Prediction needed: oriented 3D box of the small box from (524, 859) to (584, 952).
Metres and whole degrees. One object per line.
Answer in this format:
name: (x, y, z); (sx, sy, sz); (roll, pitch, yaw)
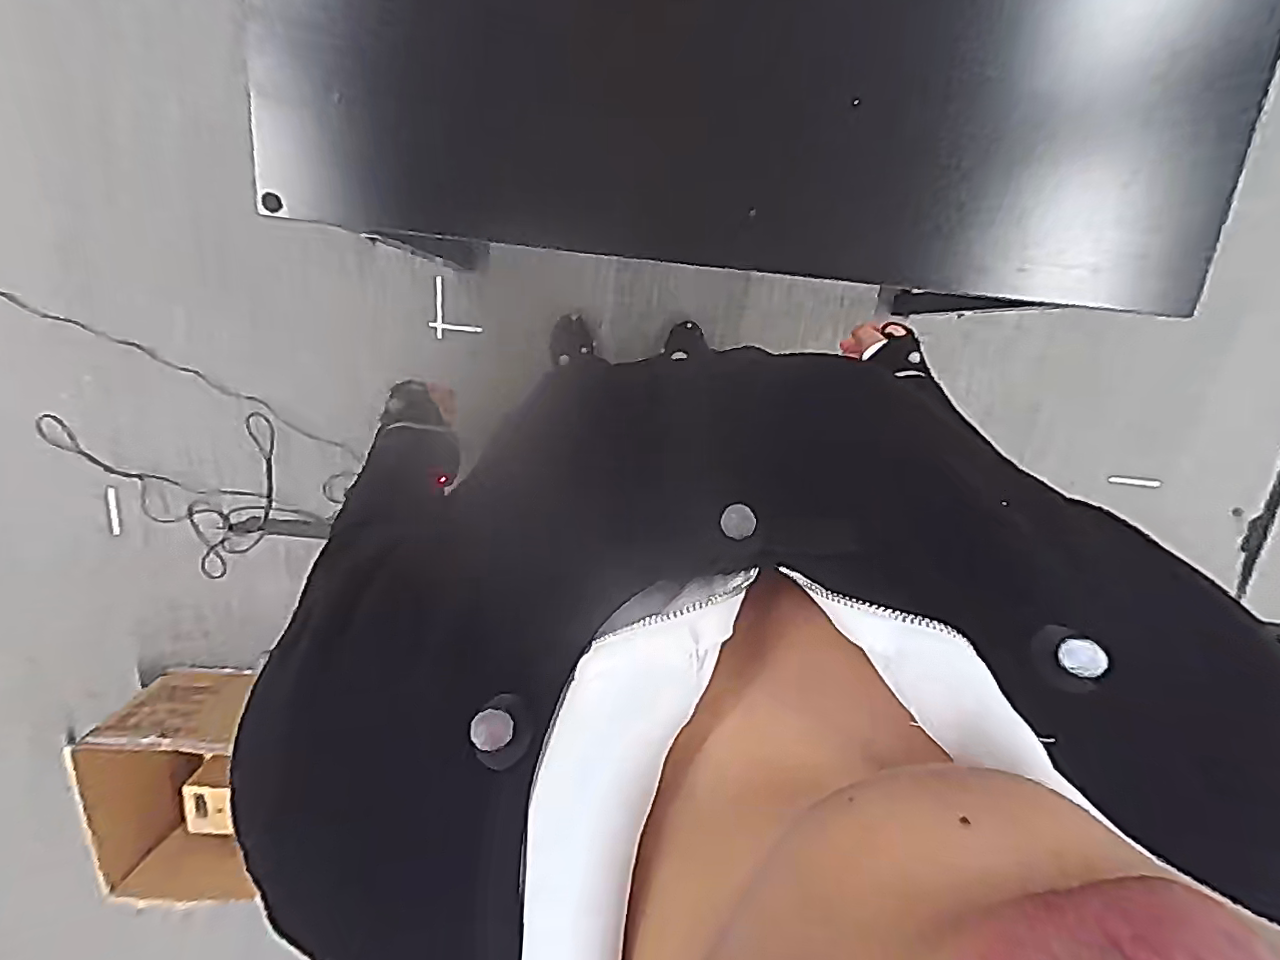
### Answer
small box: (-0.274, 1.371, 1.749); (0.168, 0.176, 0.179); (9, 103, -5)

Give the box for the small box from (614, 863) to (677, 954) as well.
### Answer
small box: (0.015, 1.392, 1.765); (0.179, 0.176, 0.168); (8, 103, -3)
